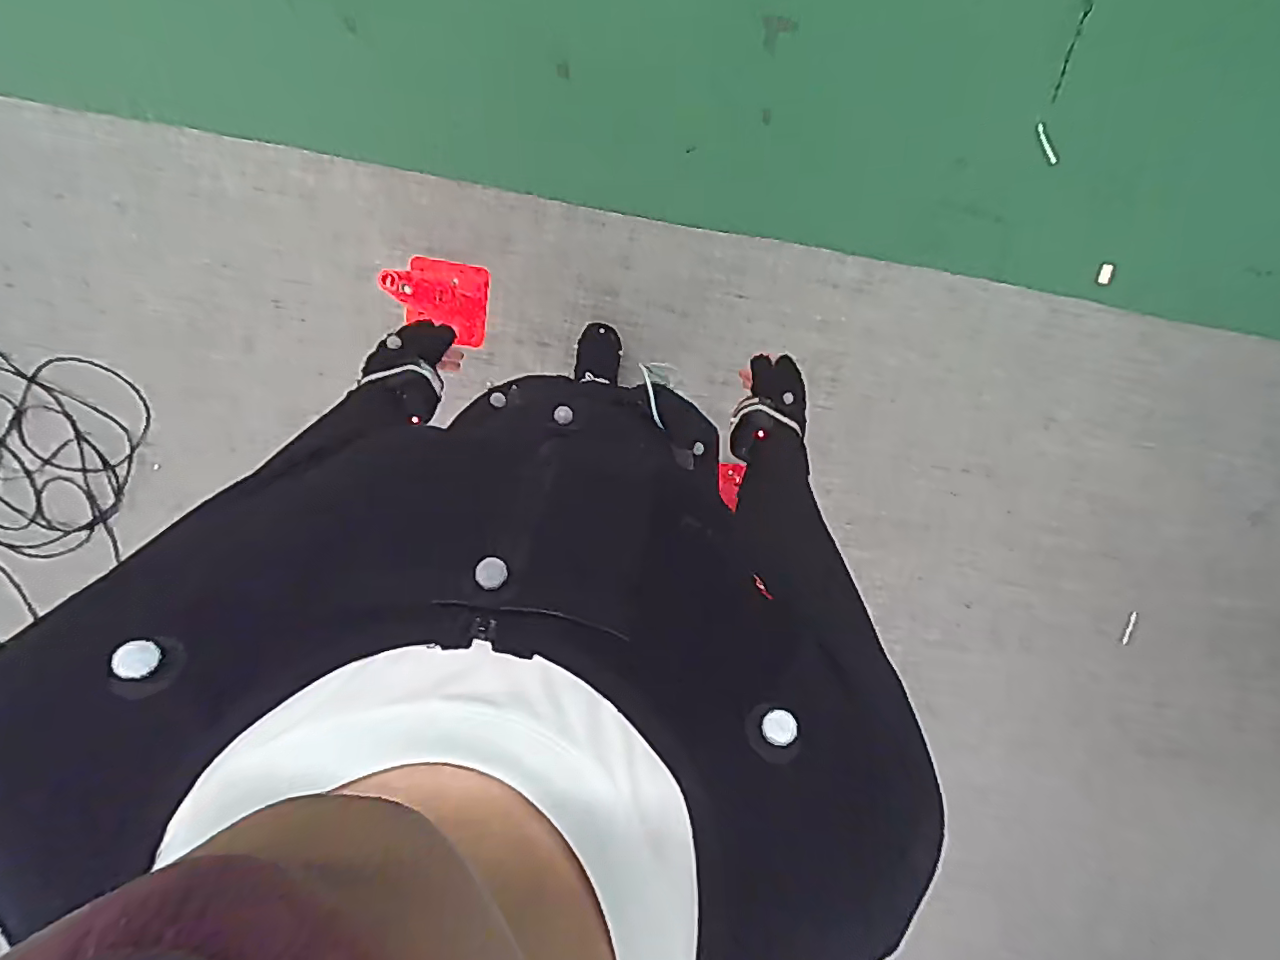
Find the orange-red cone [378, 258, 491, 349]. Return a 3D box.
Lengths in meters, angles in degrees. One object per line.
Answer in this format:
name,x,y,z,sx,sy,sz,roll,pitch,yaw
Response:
orange-red cone,-0.479,-0.408,1.196,0.198,0.360,0.199,10,102,-3

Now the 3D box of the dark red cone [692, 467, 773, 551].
dark red cone,0.251,0.096,1.302,0.202,0.394,0.201,4,100,-3
